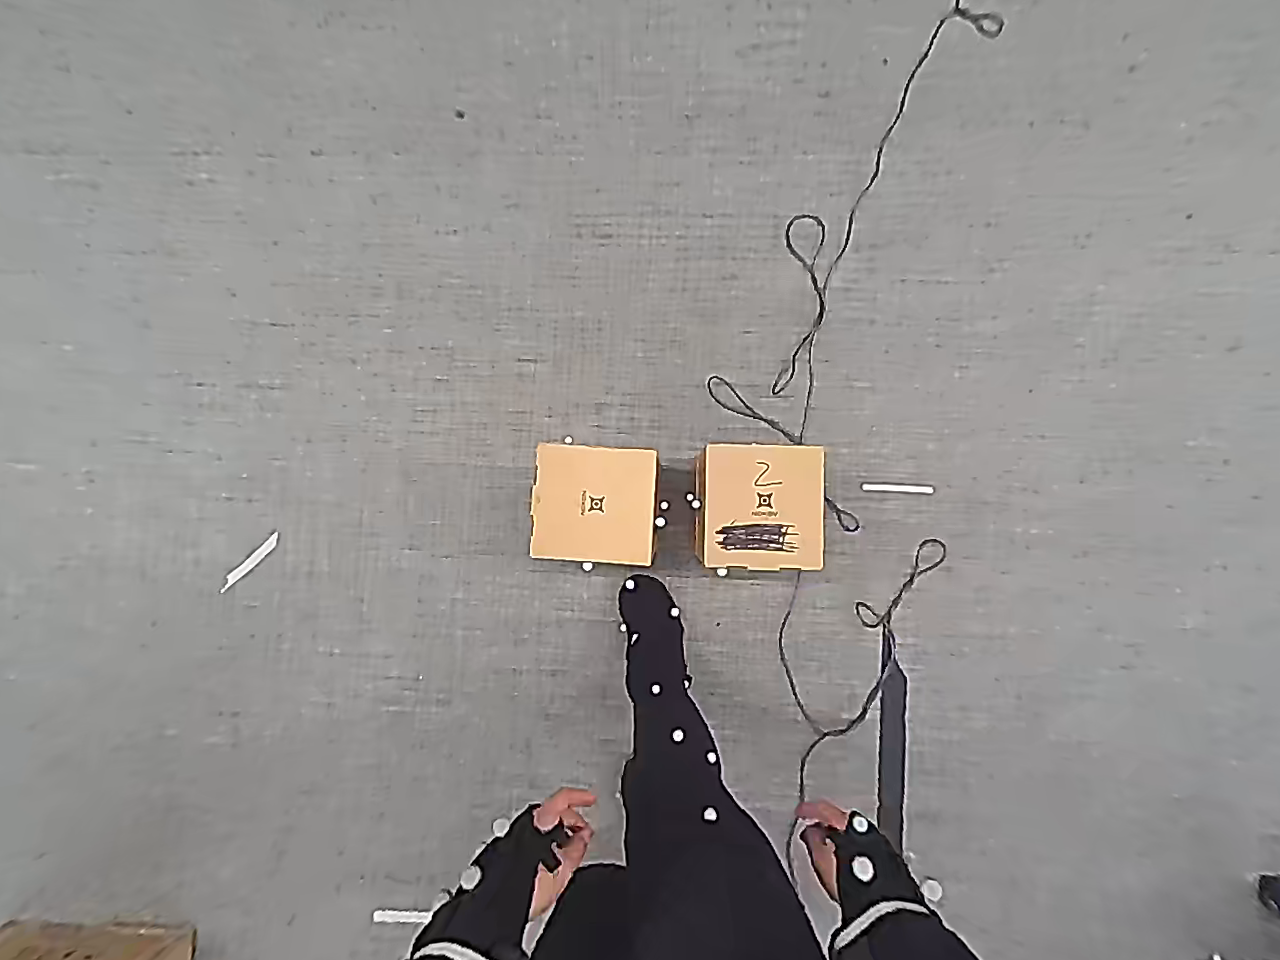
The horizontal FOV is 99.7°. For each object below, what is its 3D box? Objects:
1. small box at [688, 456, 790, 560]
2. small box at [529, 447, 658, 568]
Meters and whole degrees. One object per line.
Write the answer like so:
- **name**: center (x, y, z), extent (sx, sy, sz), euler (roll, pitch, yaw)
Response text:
- **small box**: center (0.176, 0.050, 1.001), extent (0.168, 0.176, 0.179), euler (1, 88, 2)
- **small box**: center (-0.063, 0.041, 0.850), extent (0.179, 0.176, 0.168), euler (3, 87, 4)
